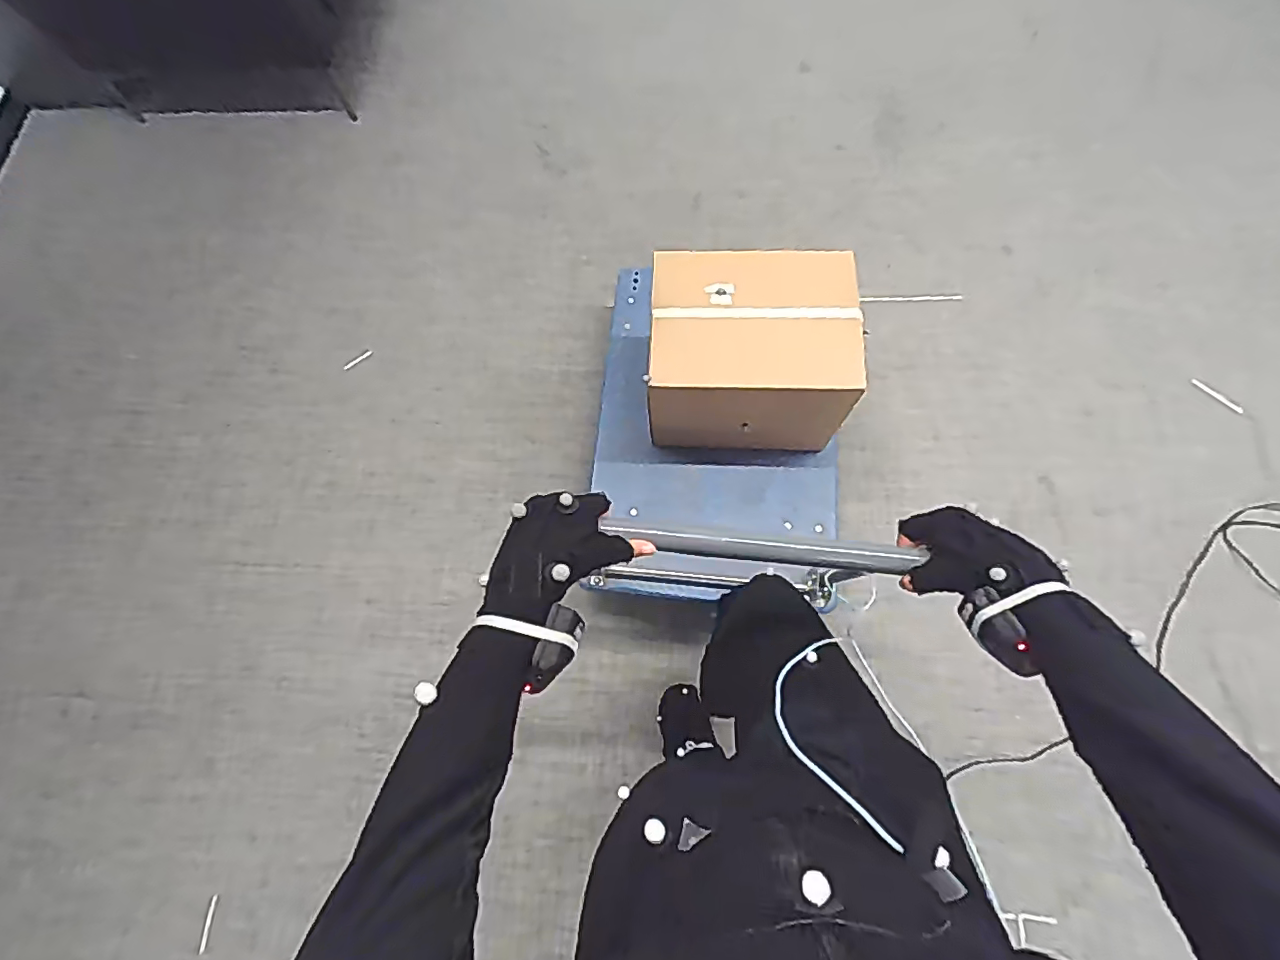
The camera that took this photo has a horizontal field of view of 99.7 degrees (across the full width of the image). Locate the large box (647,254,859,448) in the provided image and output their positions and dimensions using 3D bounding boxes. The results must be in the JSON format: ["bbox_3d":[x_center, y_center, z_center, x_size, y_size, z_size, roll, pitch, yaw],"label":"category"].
[{"bbox_3d":[0.226,-0.267,1.209,0.408,0.320,0.320,0,71,4],"label":"large box"}]
